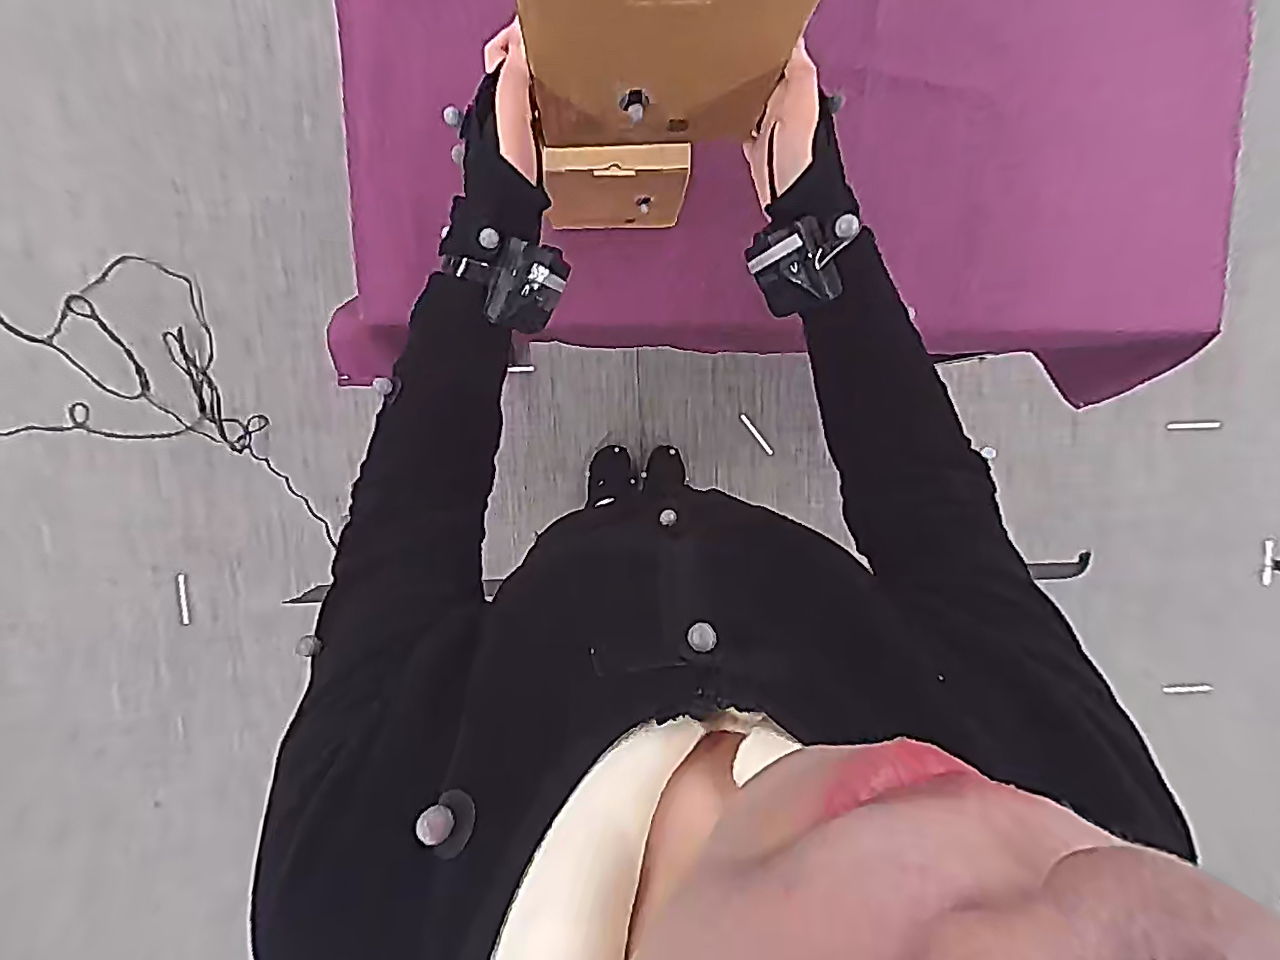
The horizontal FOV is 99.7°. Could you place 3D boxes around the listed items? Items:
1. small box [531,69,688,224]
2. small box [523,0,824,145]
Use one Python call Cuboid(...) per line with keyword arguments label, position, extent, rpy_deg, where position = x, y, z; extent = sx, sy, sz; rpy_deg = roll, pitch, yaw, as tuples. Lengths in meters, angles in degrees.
Cuboid(label="small box", position=(-0.034, -0.419, 0.640), extent=(0.168, 0.176, 0.179), rpy_deg=(-2, 96, -3))
Cuboid(label="small box", position=(0.008, -0.343, 0.336), extent=(0.168, 0.176, 0.179), rpy_deg=(-5, 96, -4))
